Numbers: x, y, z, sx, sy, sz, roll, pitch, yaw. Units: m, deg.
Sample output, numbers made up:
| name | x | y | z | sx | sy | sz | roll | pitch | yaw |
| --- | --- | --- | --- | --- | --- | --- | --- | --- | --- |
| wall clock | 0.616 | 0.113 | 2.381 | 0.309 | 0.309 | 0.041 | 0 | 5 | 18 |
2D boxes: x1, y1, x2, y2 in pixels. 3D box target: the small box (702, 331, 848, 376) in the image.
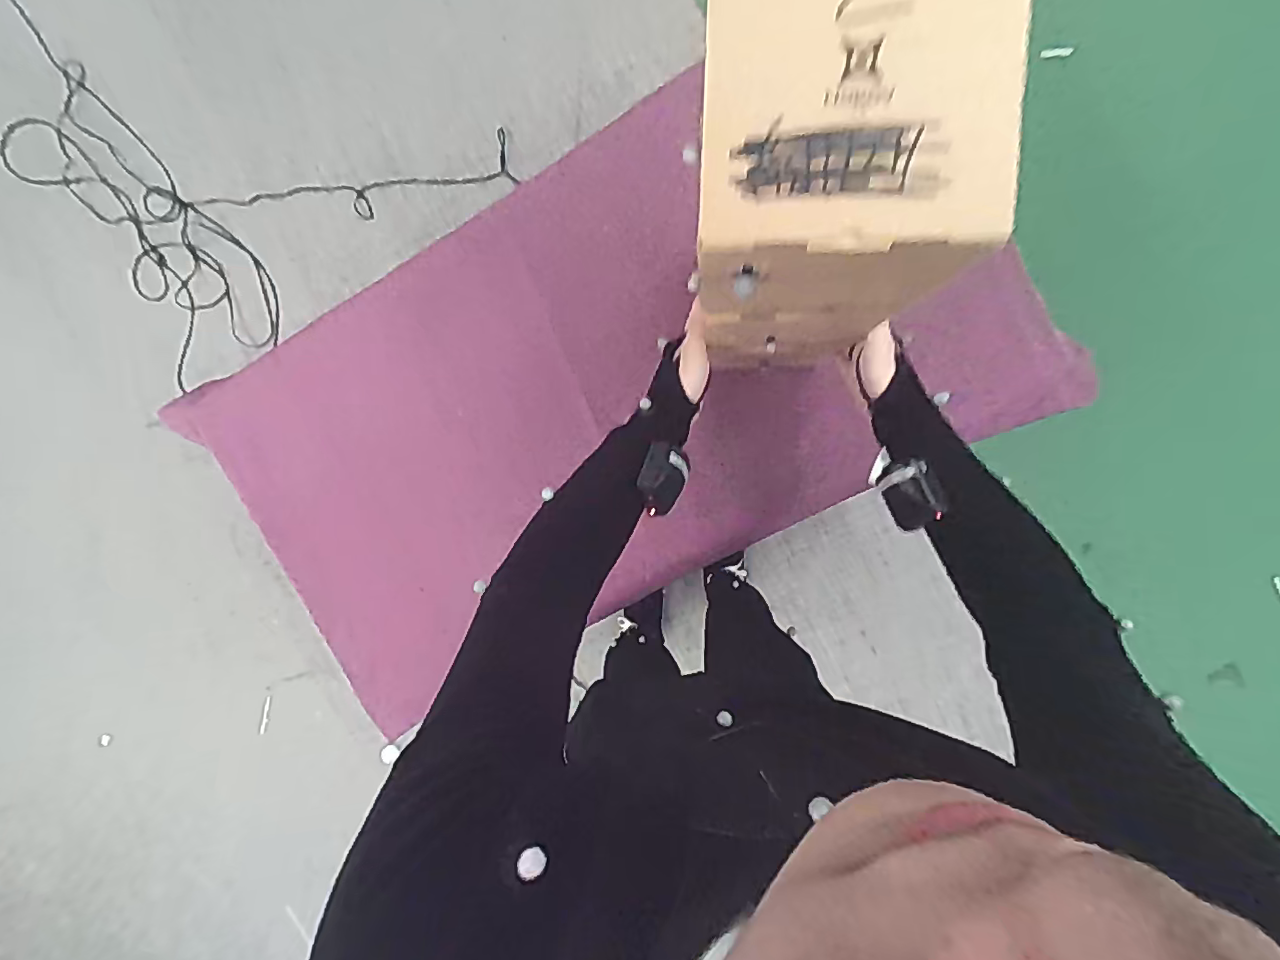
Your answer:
| name | x | y | z | sx | sy | sz | roll | pitch | yaw |
| --- | --- | --- | --- | --- | --- | --- | --- | --- | --- |
| small box | 0.164 | -0.232 | 0.692 | 0.168 | 0.176 | 0.179 | 0 | 95 | 8 |

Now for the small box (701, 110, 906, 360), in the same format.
| name | x | y | z | sx | sy | sz | roll | pitch | yaw |
| --- | --- | --- | --- | --- | --- | --- | --- | --- | --- |
| small box | 0.144 | -0.220 | 0.532 | 0.168 | 0.176 | 0.179 | -1 | 95 | 7 |
